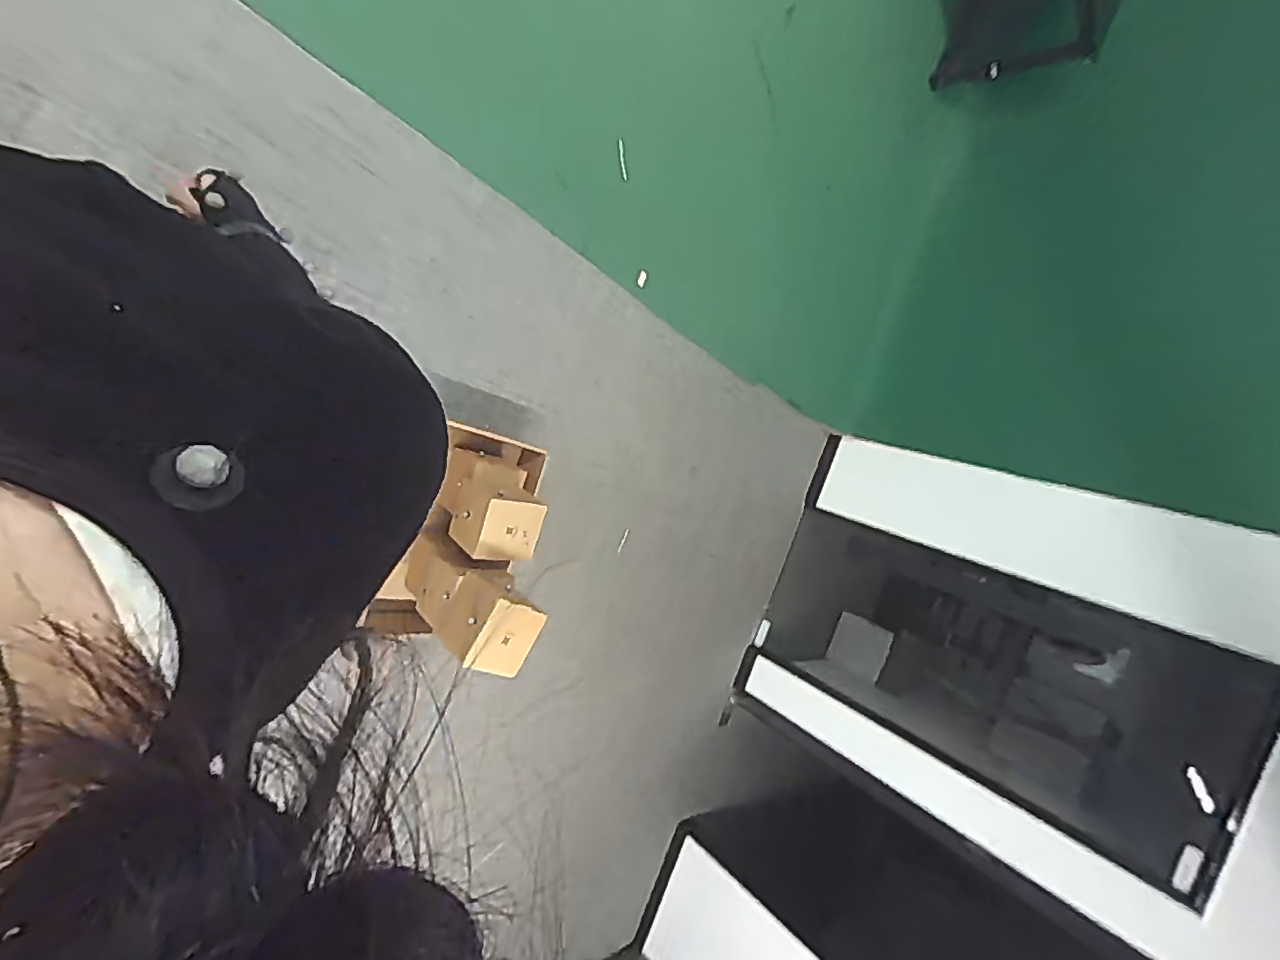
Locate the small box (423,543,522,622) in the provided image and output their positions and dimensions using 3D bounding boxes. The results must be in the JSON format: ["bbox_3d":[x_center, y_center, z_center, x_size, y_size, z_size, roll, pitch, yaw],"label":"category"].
[{"bbox_3d":[-0.459,0.280,1.475,0.179,0.176,0.168,14,96,-46],"label":"small box"}]

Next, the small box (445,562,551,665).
[{"bbox_3d":[-0.362,0.332,1.355,0.168,0.176,0.179,35,81,-45],"label":"small box"}]

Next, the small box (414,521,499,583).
[{"bbox_3d":[-0.549,0.230,1.605,0.168,0.176,0.179,8,101,-45],"label":"small box"}]

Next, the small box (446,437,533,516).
[{"bbox_3d":[-0.449,-0.013,1.595,0.168,0.176,0.179,13,100,-45],"label":"small box"}]
